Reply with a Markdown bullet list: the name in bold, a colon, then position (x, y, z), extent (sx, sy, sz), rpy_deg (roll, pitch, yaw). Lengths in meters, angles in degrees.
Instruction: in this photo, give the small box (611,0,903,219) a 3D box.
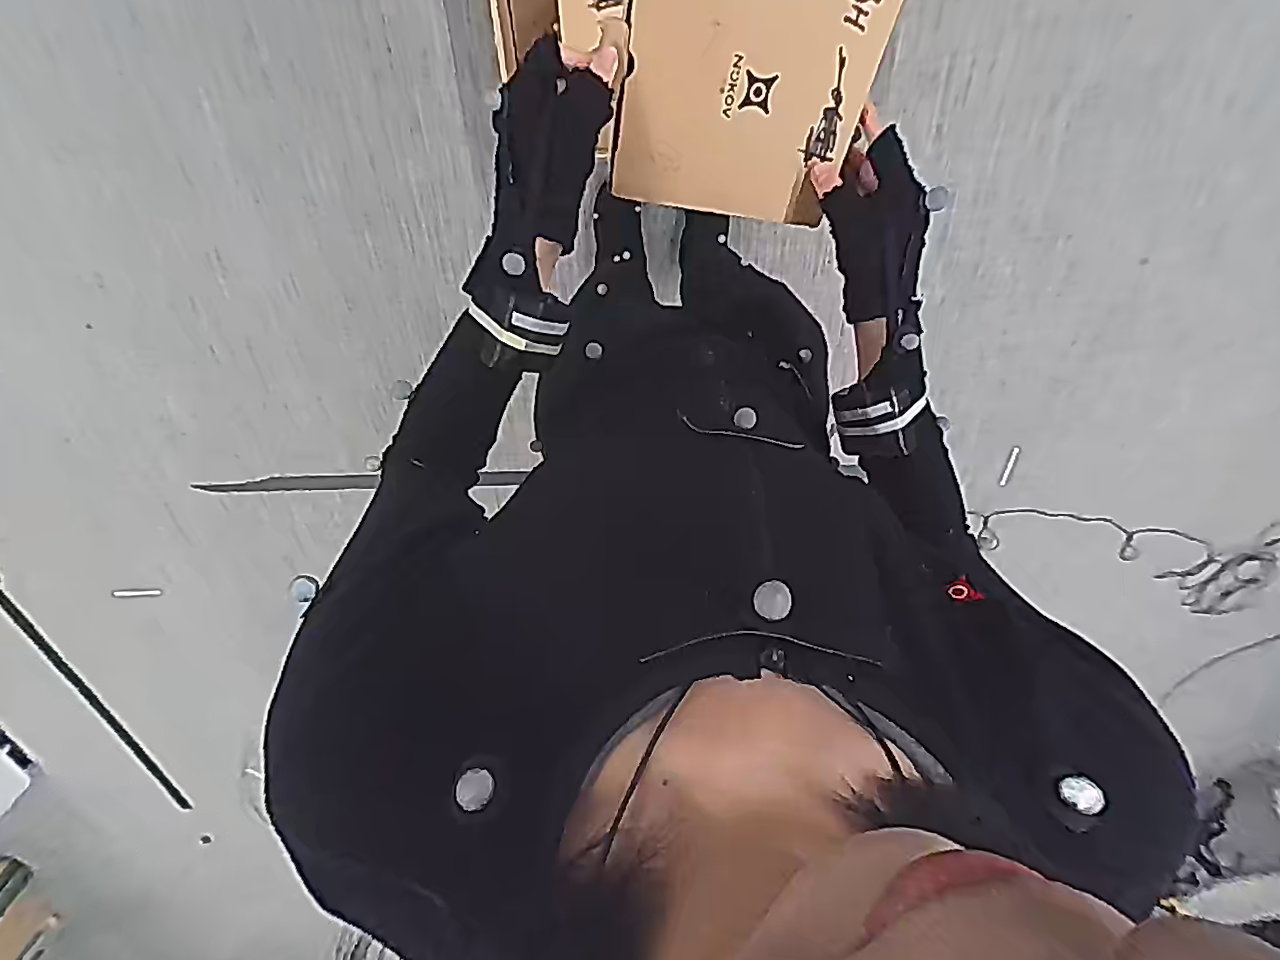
- **small box**: position (0.074, -0.332, 0.431), extent (0.179, 0.176, 0.168), rpy_deg (5, 133, -7)
